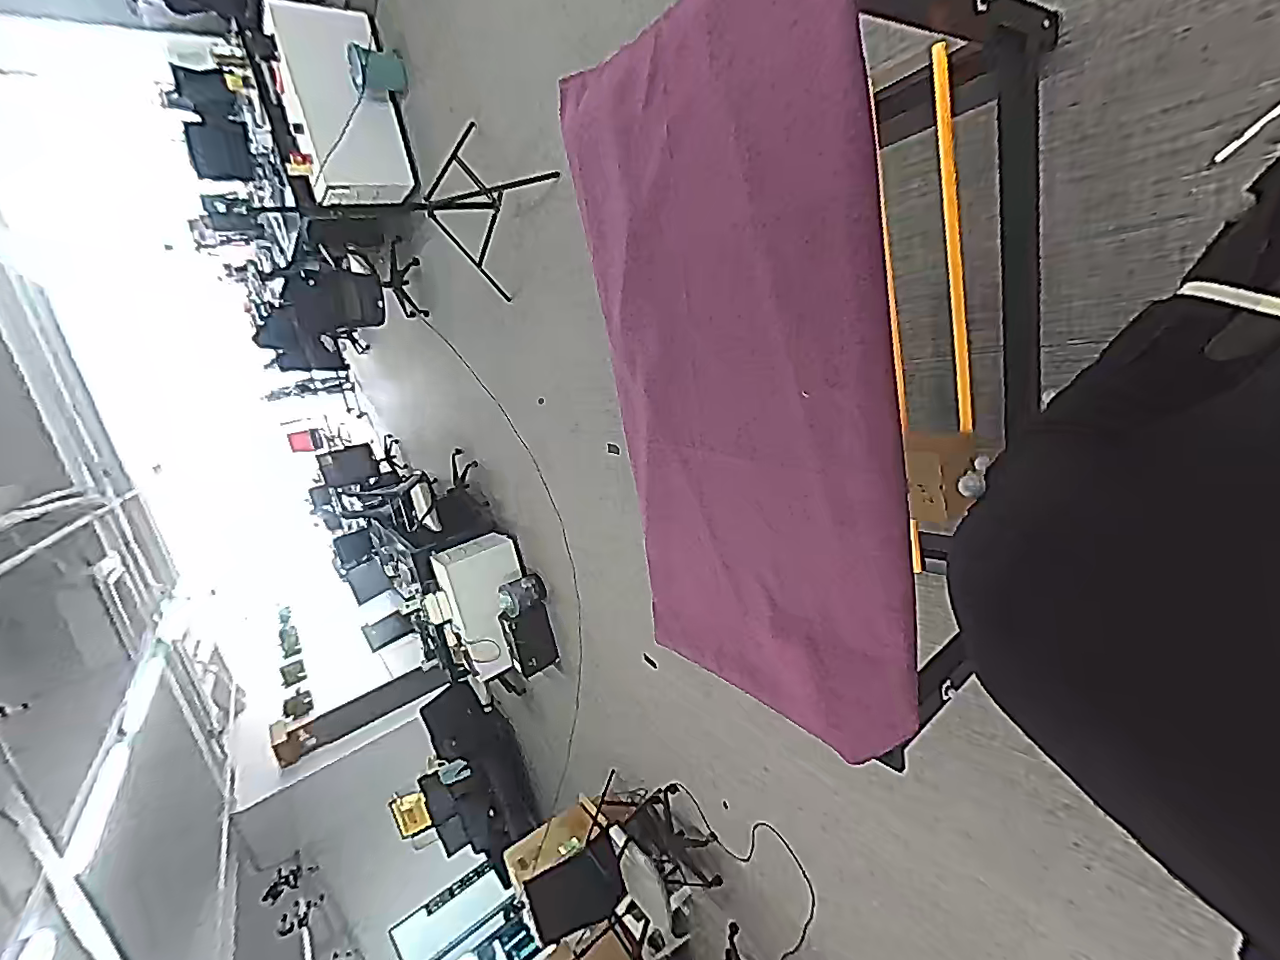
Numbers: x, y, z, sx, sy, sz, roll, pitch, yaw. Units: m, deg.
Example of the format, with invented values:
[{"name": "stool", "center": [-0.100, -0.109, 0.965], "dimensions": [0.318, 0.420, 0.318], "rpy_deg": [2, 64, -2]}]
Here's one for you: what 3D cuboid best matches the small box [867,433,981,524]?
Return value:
[{"name": "small box", "center": [0.666, -0.009, 1.269], "dimensions": [0.179, 0.176, 0.168], "rpy_deg": [3, 110, 53]}]
